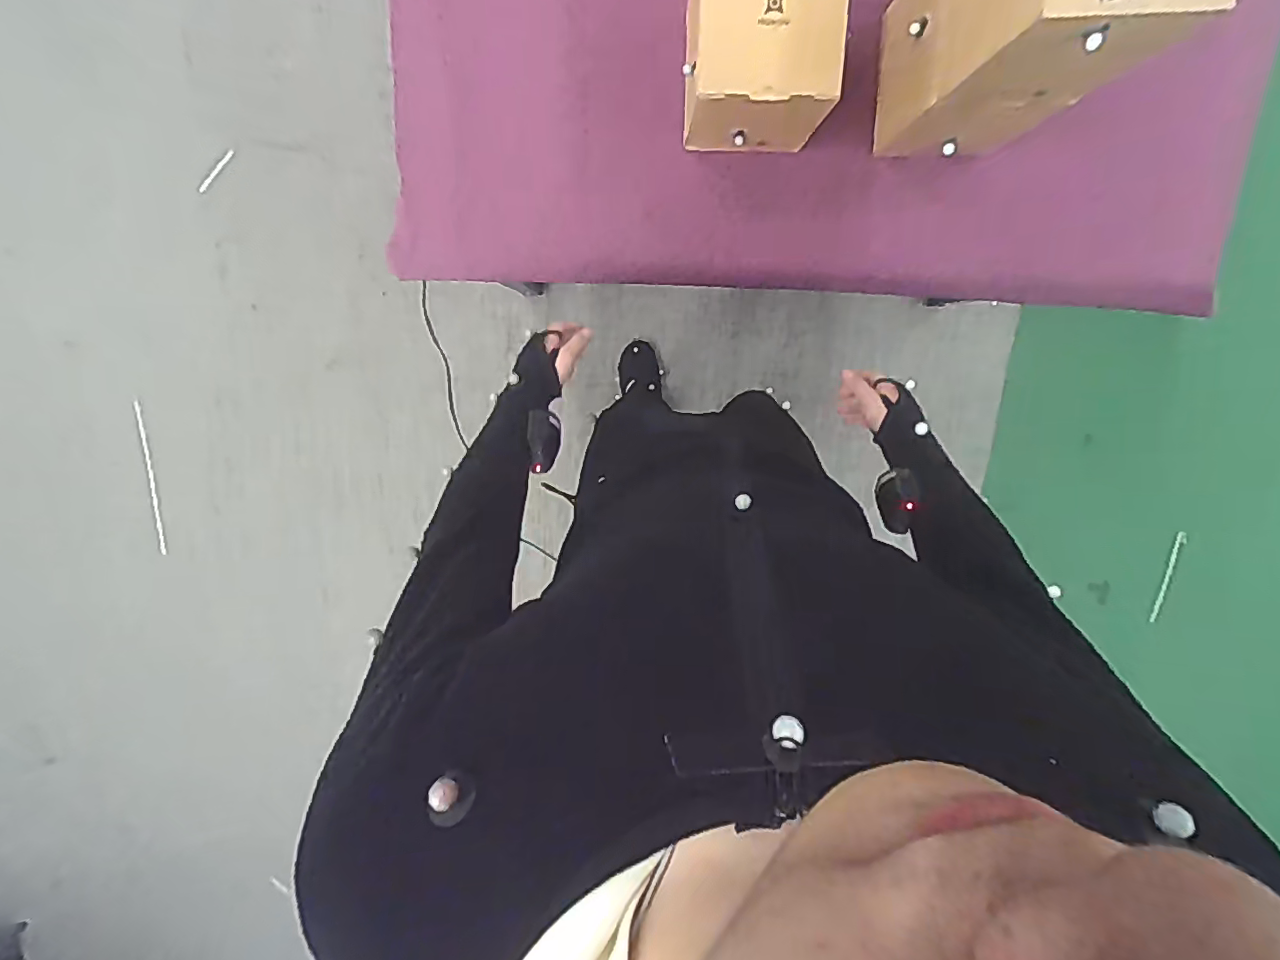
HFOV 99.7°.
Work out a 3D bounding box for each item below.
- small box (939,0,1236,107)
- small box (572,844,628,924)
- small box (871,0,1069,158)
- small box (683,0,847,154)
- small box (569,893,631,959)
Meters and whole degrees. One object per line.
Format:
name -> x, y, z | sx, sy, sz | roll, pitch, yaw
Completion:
small box -> 0.411, -0.490, 0.512 | 0.168, 0.176, 0.179 | -2, 102, 0
small box -> -0.129, 1.362, 1.800 | 0.168, 0.176, 0.179 | 6, 103, -4
small box -> 0.406, -0.527, 0.673 | 0.168, 0.176, 0.179 | 0, 104, -1
small box -> 0.144, -0.532, 0.670 | 0.168, 0.176, 0.179 | 0, 104, -1
small box -> -0.125, 1.400, 1.640 | 0.168, 0.176, 0.179 | 8, 104, -4
